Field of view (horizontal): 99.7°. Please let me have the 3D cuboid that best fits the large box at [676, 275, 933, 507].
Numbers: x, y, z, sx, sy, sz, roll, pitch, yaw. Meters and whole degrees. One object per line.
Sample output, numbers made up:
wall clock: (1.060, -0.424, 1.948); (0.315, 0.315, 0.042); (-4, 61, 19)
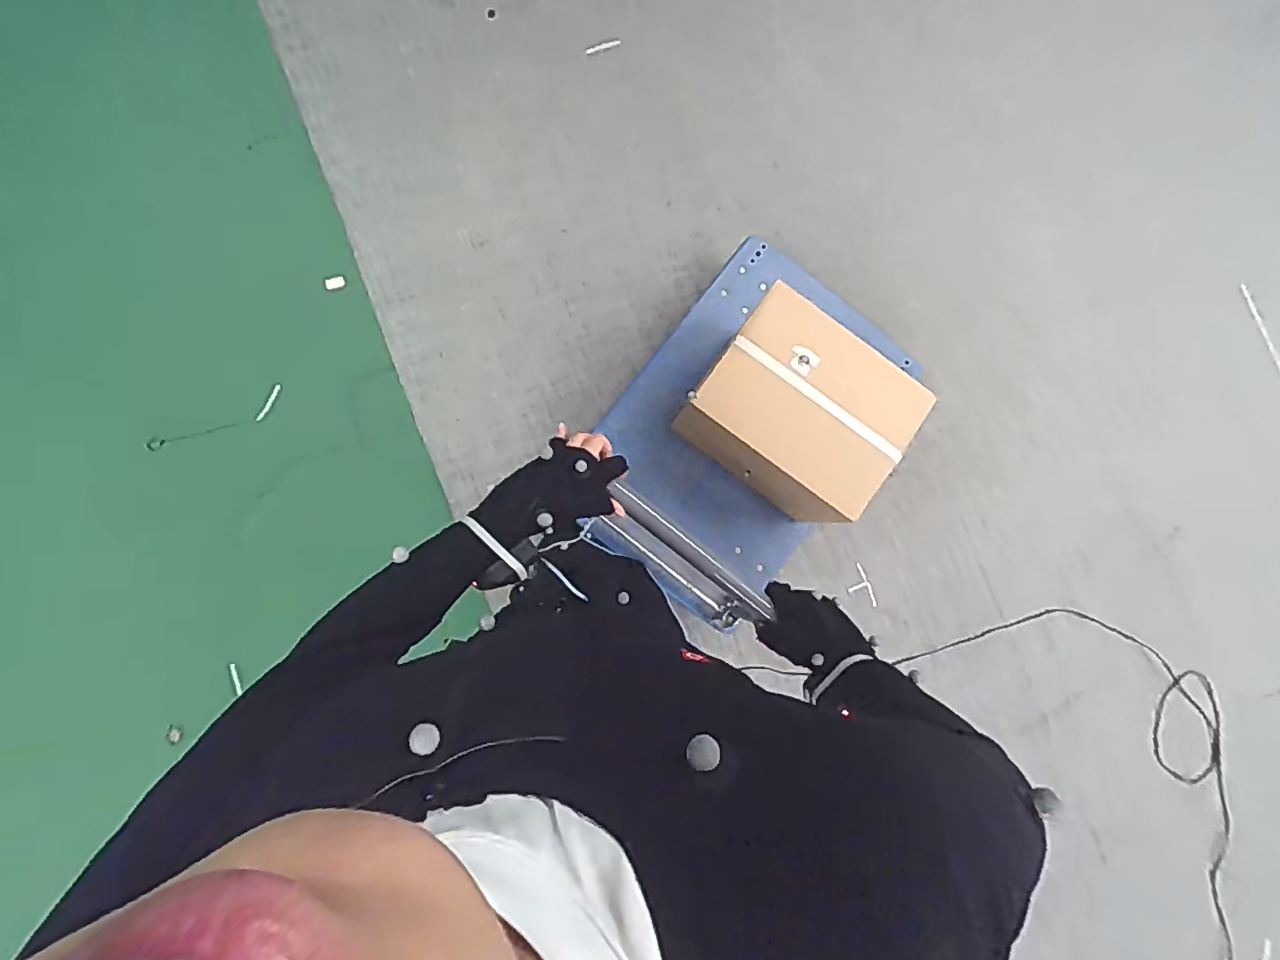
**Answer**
large box: (0.341, -0.171, 1.225); (0.408, 0.320, 0.320); (36, 85, -1)
